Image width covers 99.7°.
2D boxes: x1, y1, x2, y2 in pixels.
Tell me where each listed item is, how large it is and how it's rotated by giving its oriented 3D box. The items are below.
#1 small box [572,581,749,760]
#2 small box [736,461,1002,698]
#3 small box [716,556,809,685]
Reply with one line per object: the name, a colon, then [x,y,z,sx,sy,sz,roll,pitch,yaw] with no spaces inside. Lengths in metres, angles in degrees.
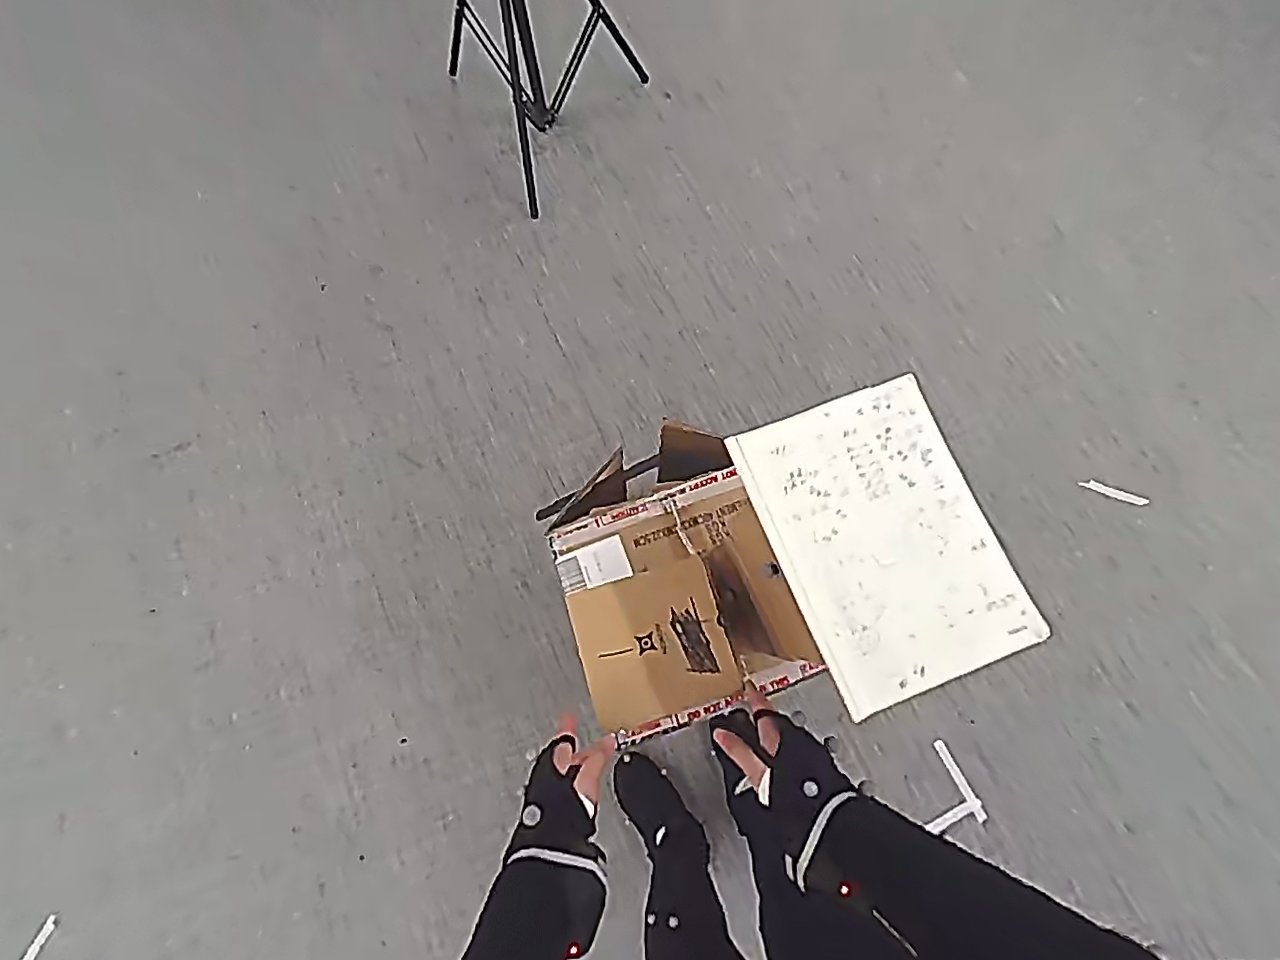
small box: [0.022,0.236,0.712,0.179,0.176,0.168,-17,78,-3]
small box: [0.220,0.107,0.577,0.168,0.176,0.179,-23,78,-7]
small box: [0.222,0.153,0.732,0.179,0.176,0.168,-24,78,-7]
